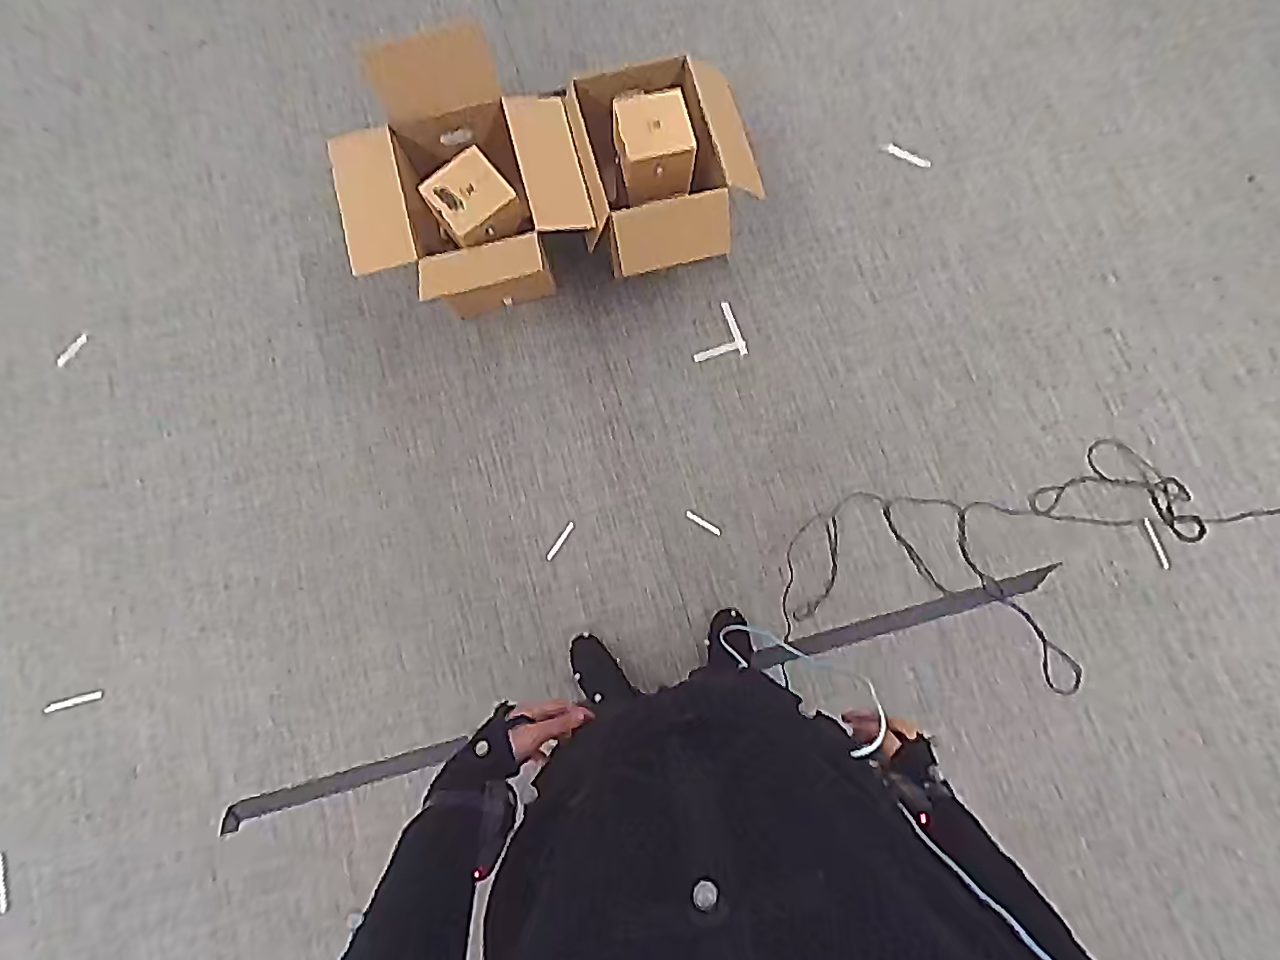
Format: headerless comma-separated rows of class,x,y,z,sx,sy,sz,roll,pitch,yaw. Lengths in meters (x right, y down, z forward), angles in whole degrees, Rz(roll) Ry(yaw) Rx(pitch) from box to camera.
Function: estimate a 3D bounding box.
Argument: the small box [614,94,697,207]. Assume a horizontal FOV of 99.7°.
small box,0.035,-0.845,1.400,0.179,0.176,0.168,-14,82,-2
